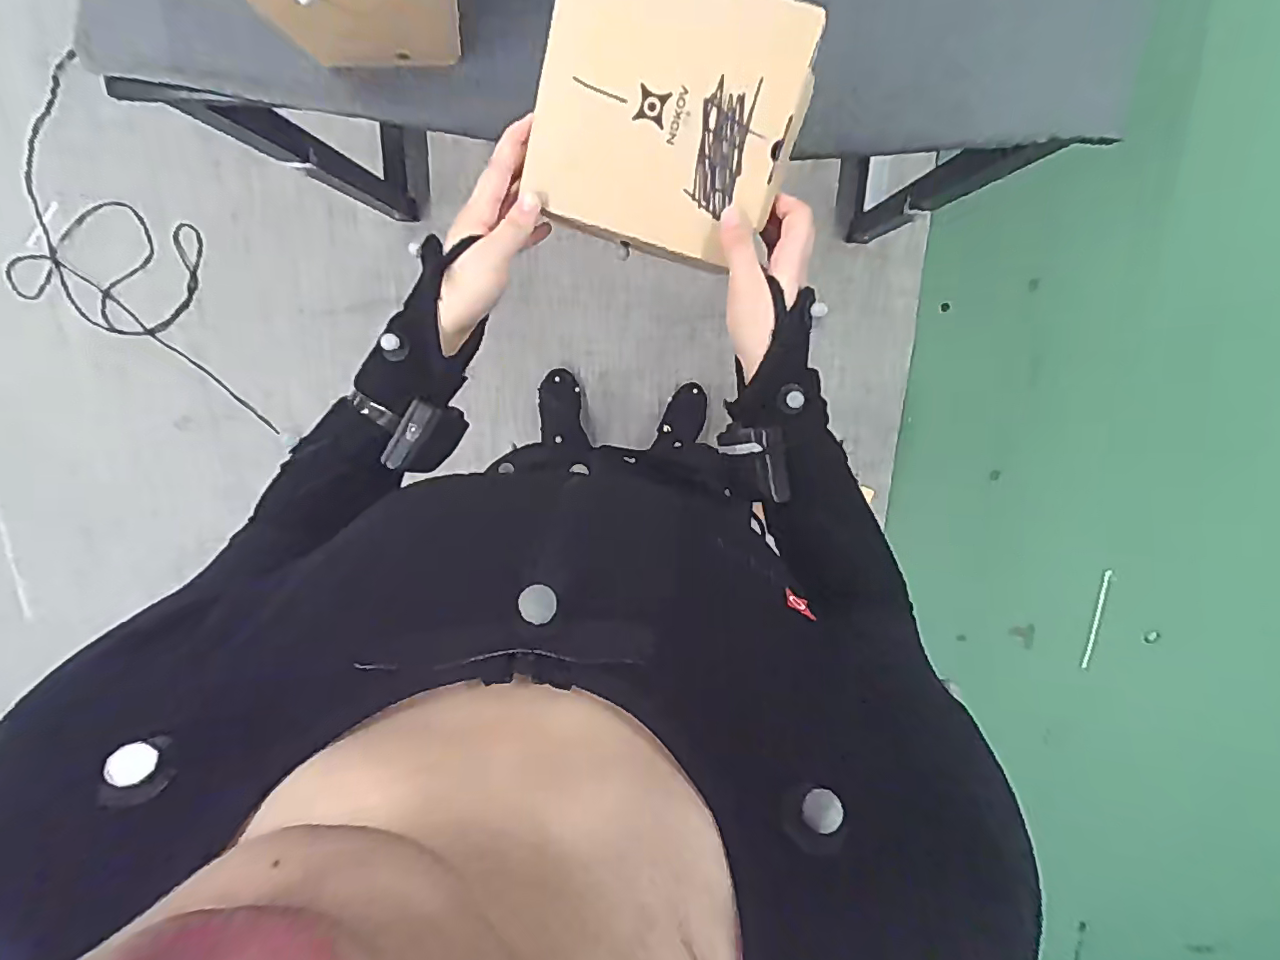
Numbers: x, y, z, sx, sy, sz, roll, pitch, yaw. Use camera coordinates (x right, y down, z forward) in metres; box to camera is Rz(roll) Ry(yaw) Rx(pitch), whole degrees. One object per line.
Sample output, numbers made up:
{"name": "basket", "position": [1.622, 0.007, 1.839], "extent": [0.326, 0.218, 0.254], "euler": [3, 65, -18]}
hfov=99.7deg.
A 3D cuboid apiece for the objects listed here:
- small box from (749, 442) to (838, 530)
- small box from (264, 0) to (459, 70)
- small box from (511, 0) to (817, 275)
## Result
{"name": "small box", "position": [0.389, 0.010, 1.408], "extent": [0.168, 0.176, 0.179], "euler": [10, 104, -2]}
{"name": "small box", "position": [-0.289, -0.545, 0.530], "extent": [0.168, 0.176, 0.179], "euler": [0, 104, 1]}
{"name": "small box", "position": [0.014, -0.280, 0.447], "extent": [0.179, 0.176, 0.168], "euler": [17, 110, -3]}
